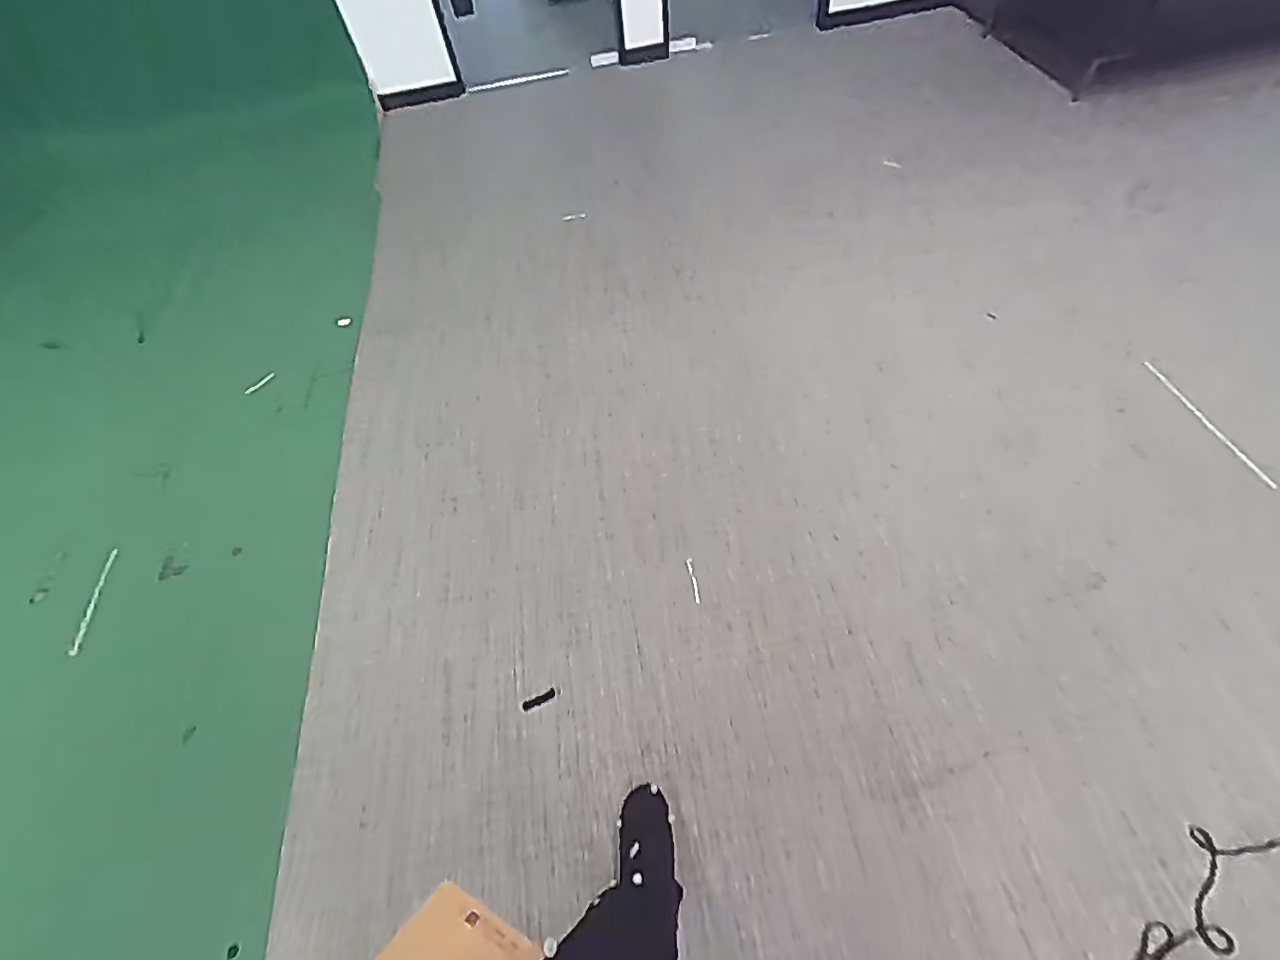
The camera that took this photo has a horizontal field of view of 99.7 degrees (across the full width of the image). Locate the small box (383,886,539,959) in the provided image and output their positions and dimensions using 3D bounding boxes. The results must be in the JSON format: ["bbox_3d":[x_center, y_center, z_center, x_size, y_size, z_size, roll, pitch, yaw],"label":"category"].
[{"bbox_3d":[-0.224,0.619,0.606,0.168,0.179,0.176,21,16,18],"label":"small box"}]
